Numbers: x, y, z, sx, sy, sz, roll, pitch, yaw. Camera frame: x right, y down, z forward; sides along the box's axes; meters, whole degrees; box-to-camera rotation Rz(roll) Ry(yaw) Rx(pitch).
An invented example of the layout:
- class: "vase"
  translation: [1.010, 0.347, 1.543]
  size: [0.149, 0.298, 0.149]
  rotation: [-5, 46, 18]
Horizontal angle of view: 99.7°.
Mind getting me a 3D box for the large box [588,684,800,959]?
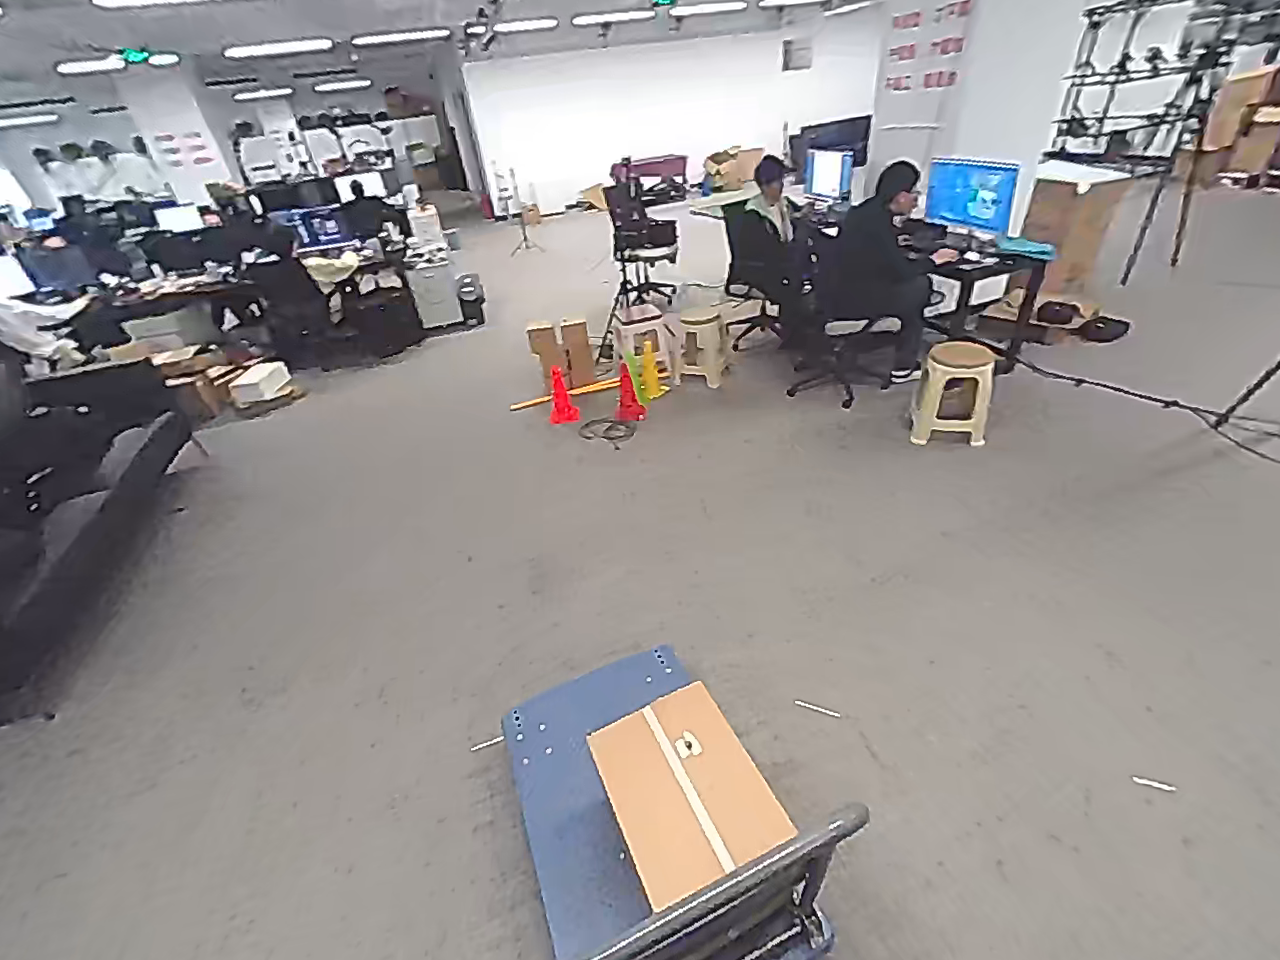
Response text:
- class: "large box"
  translation: [0.116, 0.775, 1.245]
  size: [0.320, 0.320, 0.408]
  rotation: [-19, 36, -17]
